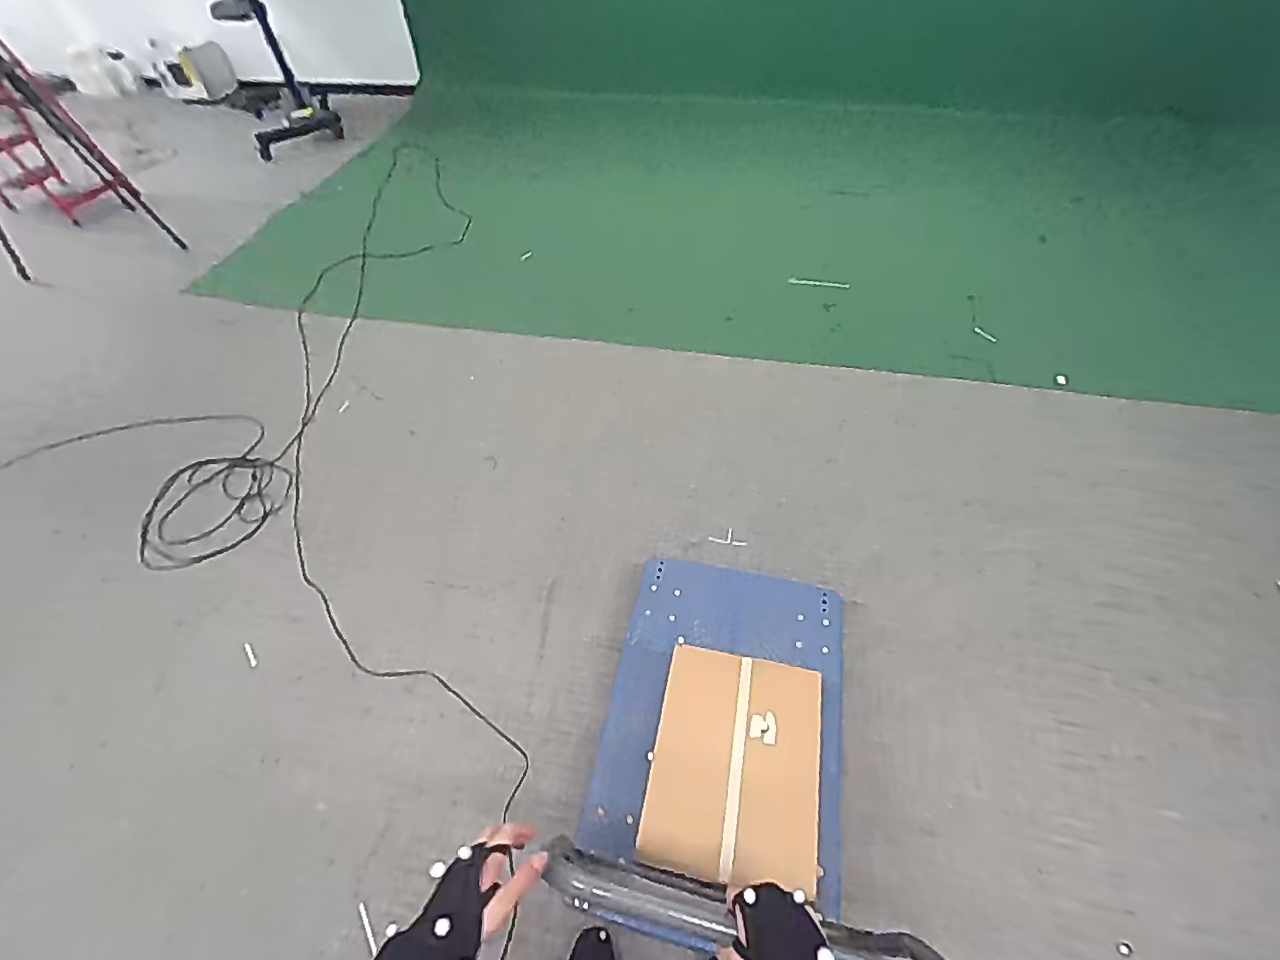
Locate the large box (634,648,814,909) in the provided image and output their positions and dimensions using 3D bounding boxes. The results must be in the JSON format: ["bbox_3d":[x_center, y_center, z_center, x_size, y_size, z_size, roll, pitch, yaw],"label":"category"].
[{"bbox_3d":[0.181,0.637,1.160,0.320,0.320,0.408,10,52,9],"label":"large box"}]
